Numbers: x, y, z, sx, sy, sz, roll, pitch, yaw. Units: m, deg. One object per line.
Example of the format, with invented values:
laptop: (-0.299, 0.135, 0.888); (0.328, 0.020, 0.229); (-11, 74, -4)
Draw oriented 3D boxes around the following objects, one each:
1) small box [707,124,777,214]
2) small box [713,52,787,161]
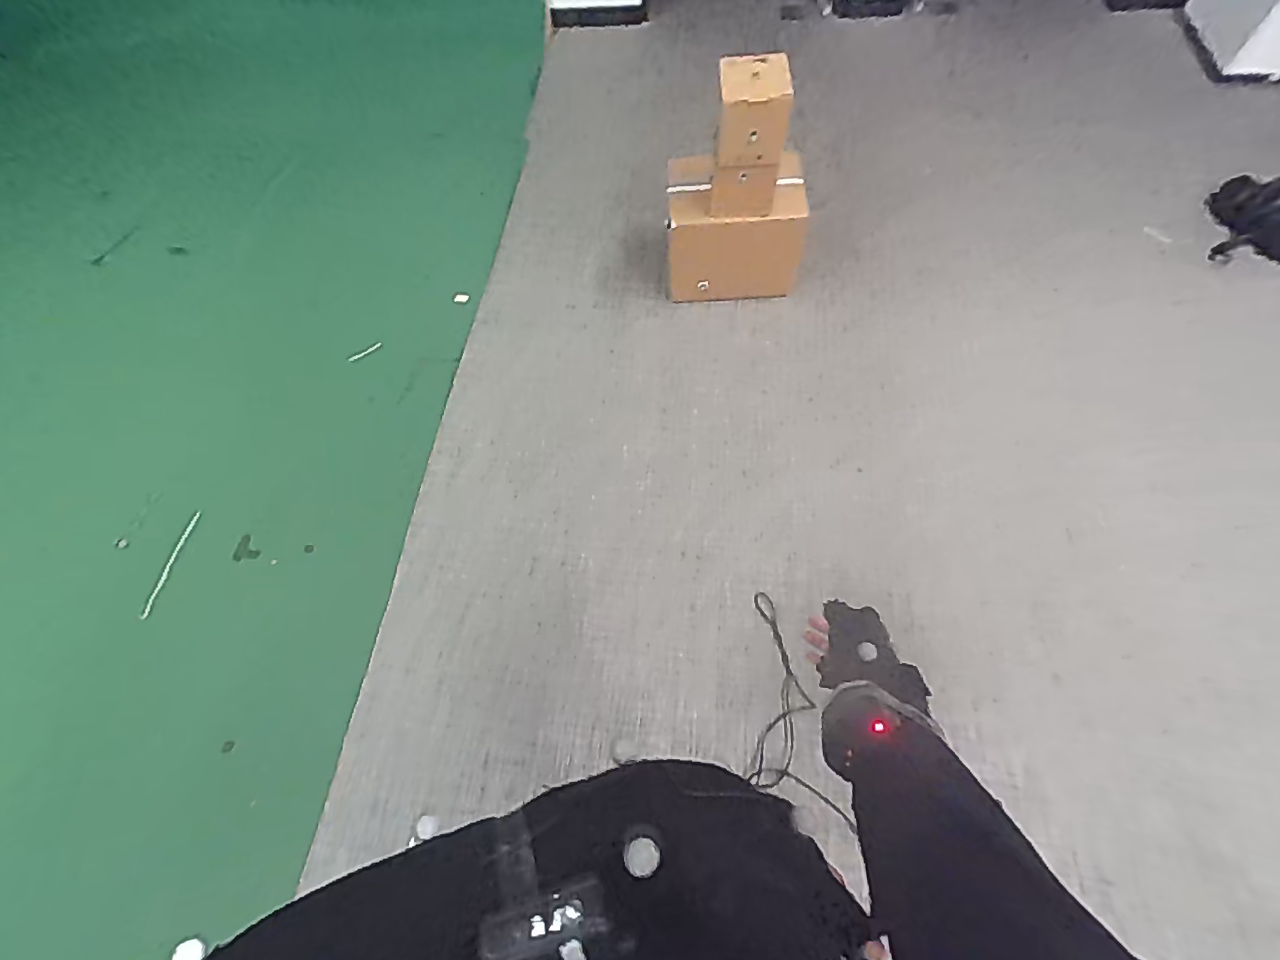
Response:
small box: (0.281, -0.875, 1.524); (0.179, 0.176, 0.168); (1, 66, 4)
small box: (0.273, -0.939, 1.374); (0.168, 0.176, 0.179); (-1, 66, 4)
